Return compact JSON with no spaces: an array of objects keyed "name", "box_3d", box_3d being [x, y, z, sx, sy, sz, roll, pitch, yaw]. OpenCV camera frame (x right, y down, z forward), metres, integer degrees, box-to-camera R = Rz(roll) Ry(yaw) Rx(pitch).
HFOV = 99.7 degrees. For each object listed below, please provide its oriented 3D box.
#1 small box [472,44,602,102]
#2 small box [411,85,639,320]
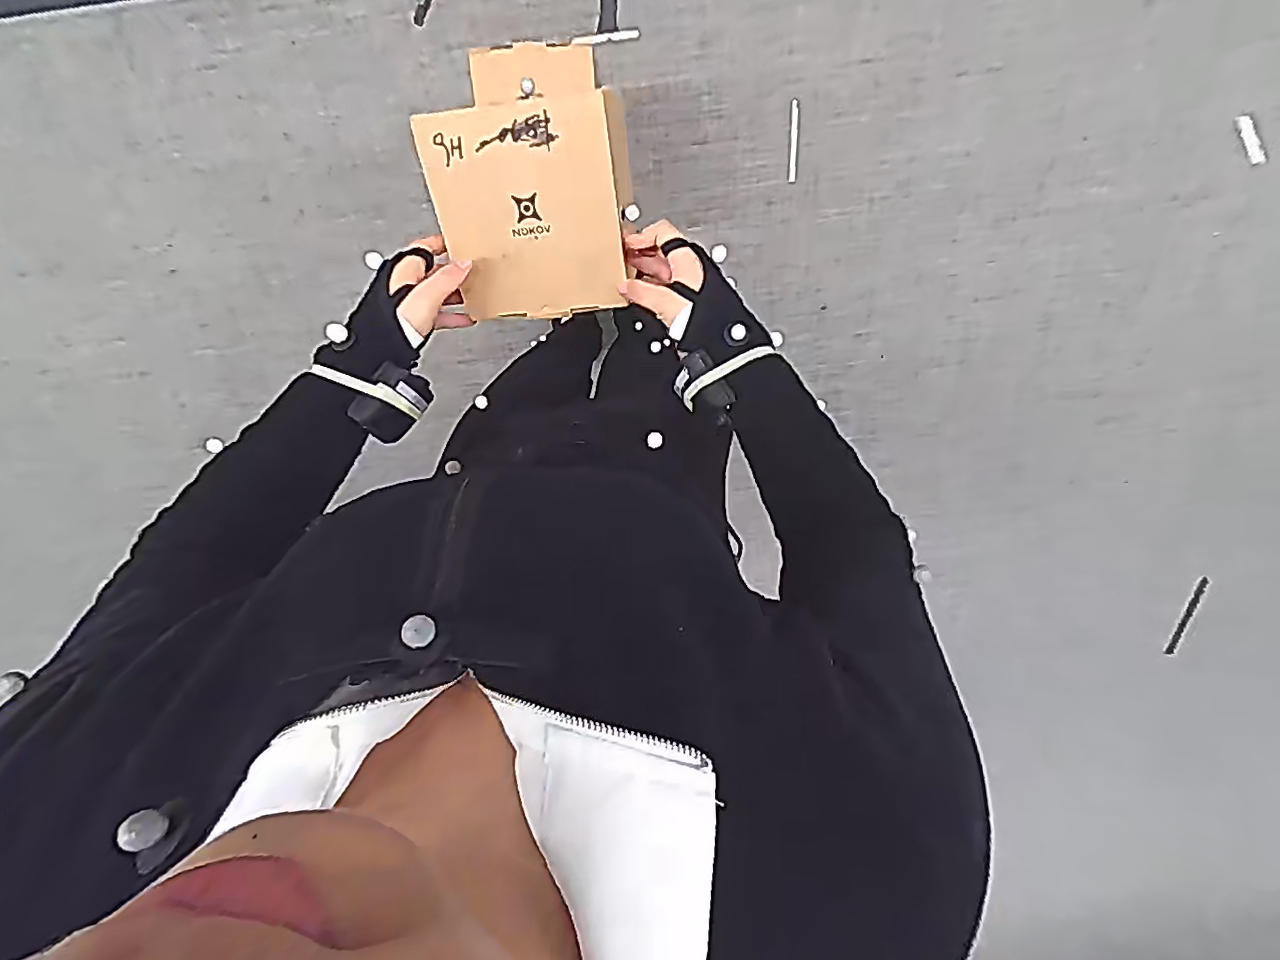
[{"name":"small box","box_3d":[-0.138,-0.527,0.811,0.168,0.176,0.179,-2,121,1]},{"name":"small box","box_3d":[-0.095,-0.283,0.550,0.168,0.176,0.179,-3,127,7]}]
